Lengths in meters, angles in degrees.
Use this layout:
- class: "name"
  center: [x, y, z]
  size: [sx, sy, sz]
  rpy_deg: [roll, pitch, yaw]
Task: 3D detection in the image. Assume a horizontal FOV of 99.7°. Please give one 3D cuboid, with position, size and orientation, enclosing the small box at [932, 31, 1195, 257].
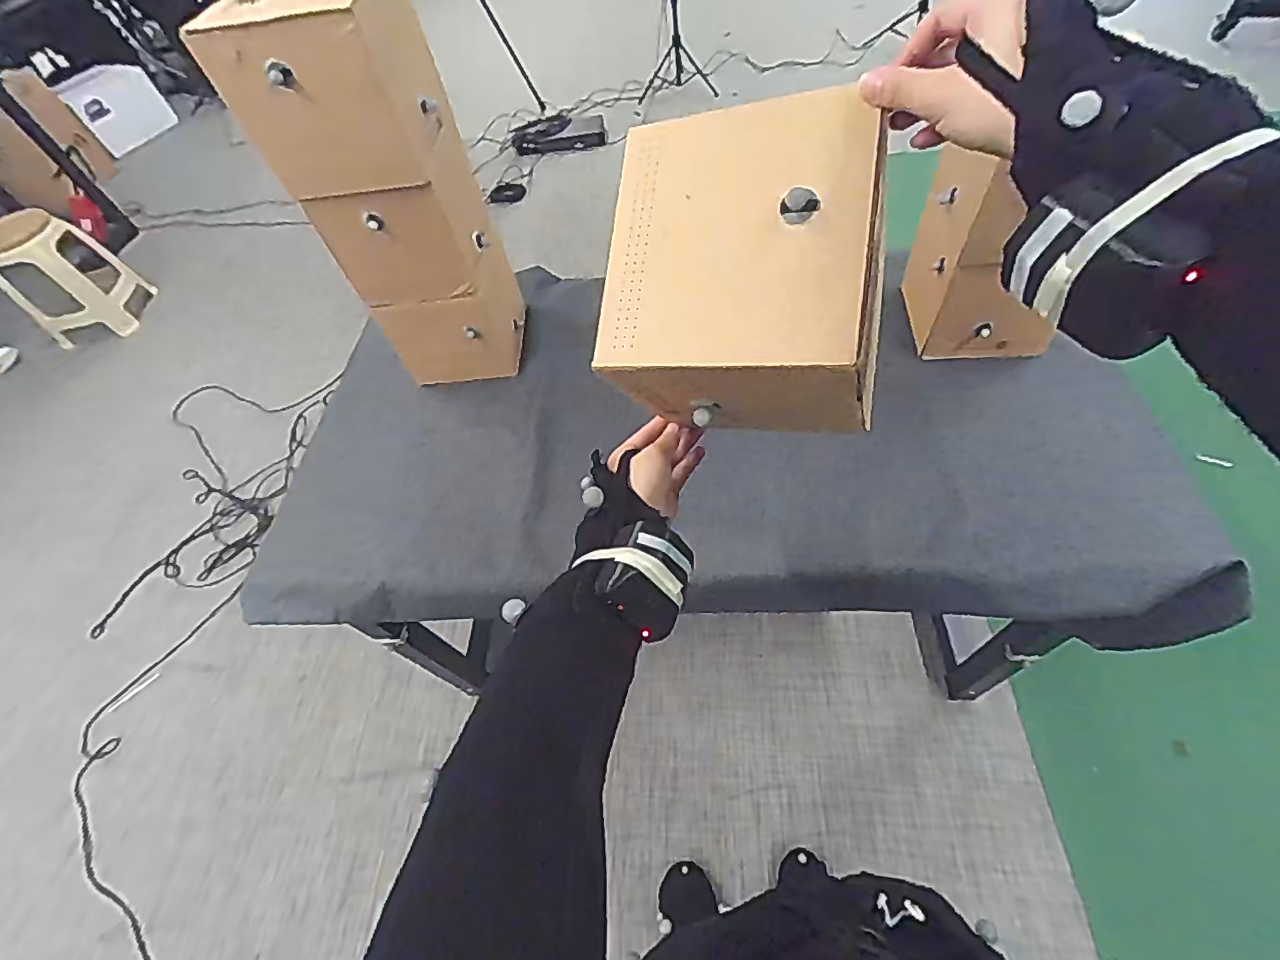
- class: "small box"
  center: [0.469, -0.382, 0.638]
  size: [0.168, 0.176, 0.179]
  rpy_deg: [0, 59, 9]

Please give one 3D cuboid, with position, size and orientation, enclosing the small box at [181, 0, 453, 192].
- class: "small box"
  center: [-0.340, -0.451, 0.612]
  size: [0.179, 0.176, 0.168]
  rpy_deg: [-3, 58, 5]

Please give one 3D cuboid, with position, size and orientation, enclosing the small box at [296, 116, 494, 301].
- class: "small box"
  center: [-0.323, -0.370, 0.754]
  size: [0.179, 0.176, 0.168]
  rpy_deg: [-5, 58, 4]

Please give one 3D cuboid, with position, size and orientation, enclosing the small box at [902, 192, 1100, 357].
- class: "small box"
  center: [0.495, -0.299, 0.777]
  size: [0.168, 0.176, 0.179]
  rpy_deg: [0, 58, 9]

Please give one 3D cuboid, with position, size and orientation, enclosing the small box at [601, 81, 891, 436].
- class: "small box"
  center: [0.086, -0.140, 0.403]
  size: [0.176, 0.168, 0.179]
  rpy_deg: [6, 83, 25]
